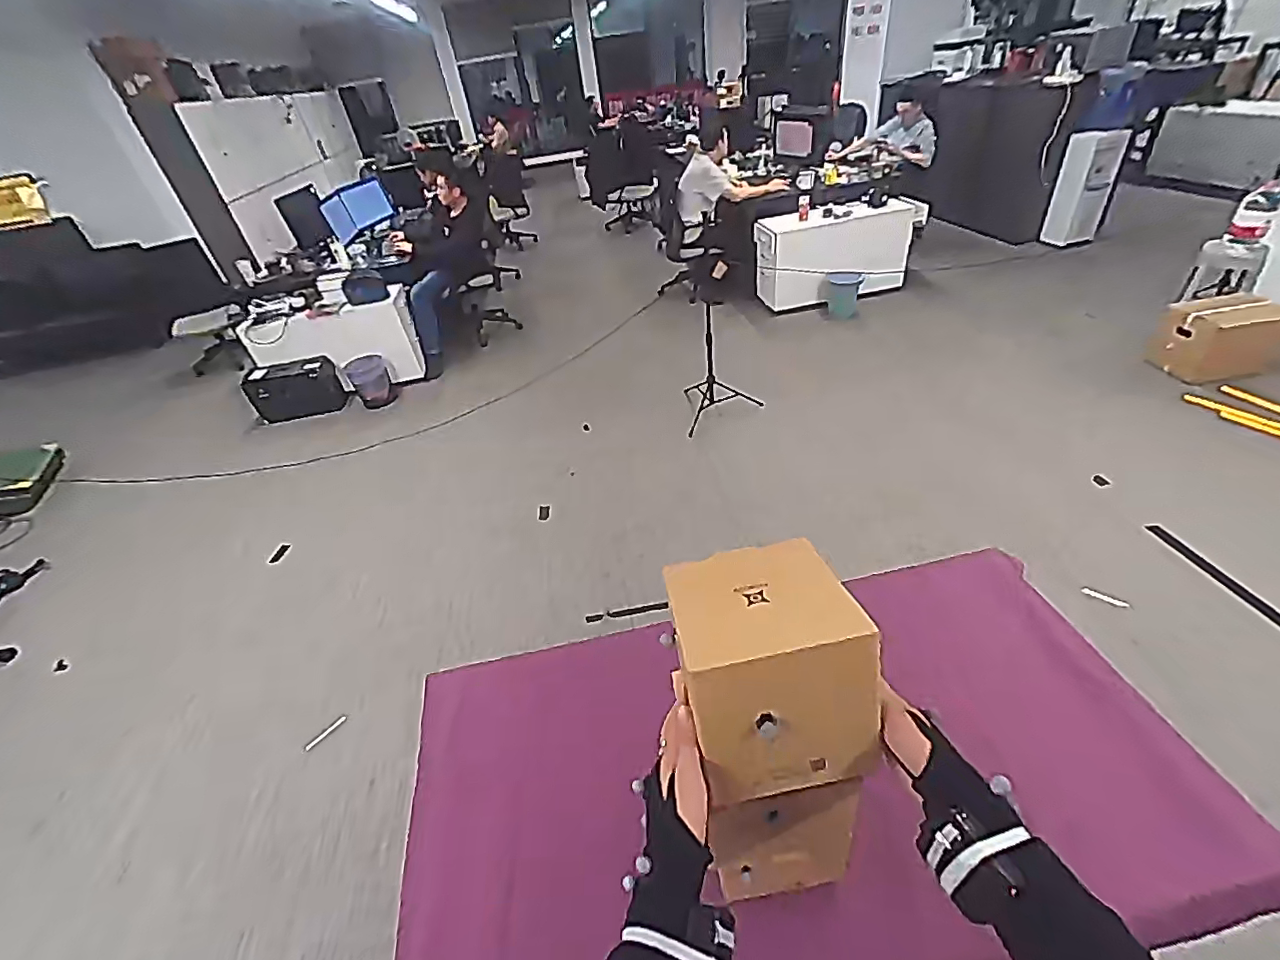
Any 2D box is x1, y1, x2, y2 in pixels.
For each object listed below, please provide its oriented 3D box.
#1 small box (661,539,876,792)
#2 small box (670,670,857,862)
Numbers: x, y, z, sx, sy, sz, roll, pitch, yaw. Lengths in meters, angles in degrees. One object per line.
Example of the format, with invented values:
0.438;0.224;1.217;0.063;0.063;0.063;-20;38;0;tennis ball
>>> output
0.125;0.187;0.555;0.168;0.176;0.179;-12;21;-1;small box
0.143;0.337;0.664;0.179;0.176;0.168;-10;38;-1;small box
